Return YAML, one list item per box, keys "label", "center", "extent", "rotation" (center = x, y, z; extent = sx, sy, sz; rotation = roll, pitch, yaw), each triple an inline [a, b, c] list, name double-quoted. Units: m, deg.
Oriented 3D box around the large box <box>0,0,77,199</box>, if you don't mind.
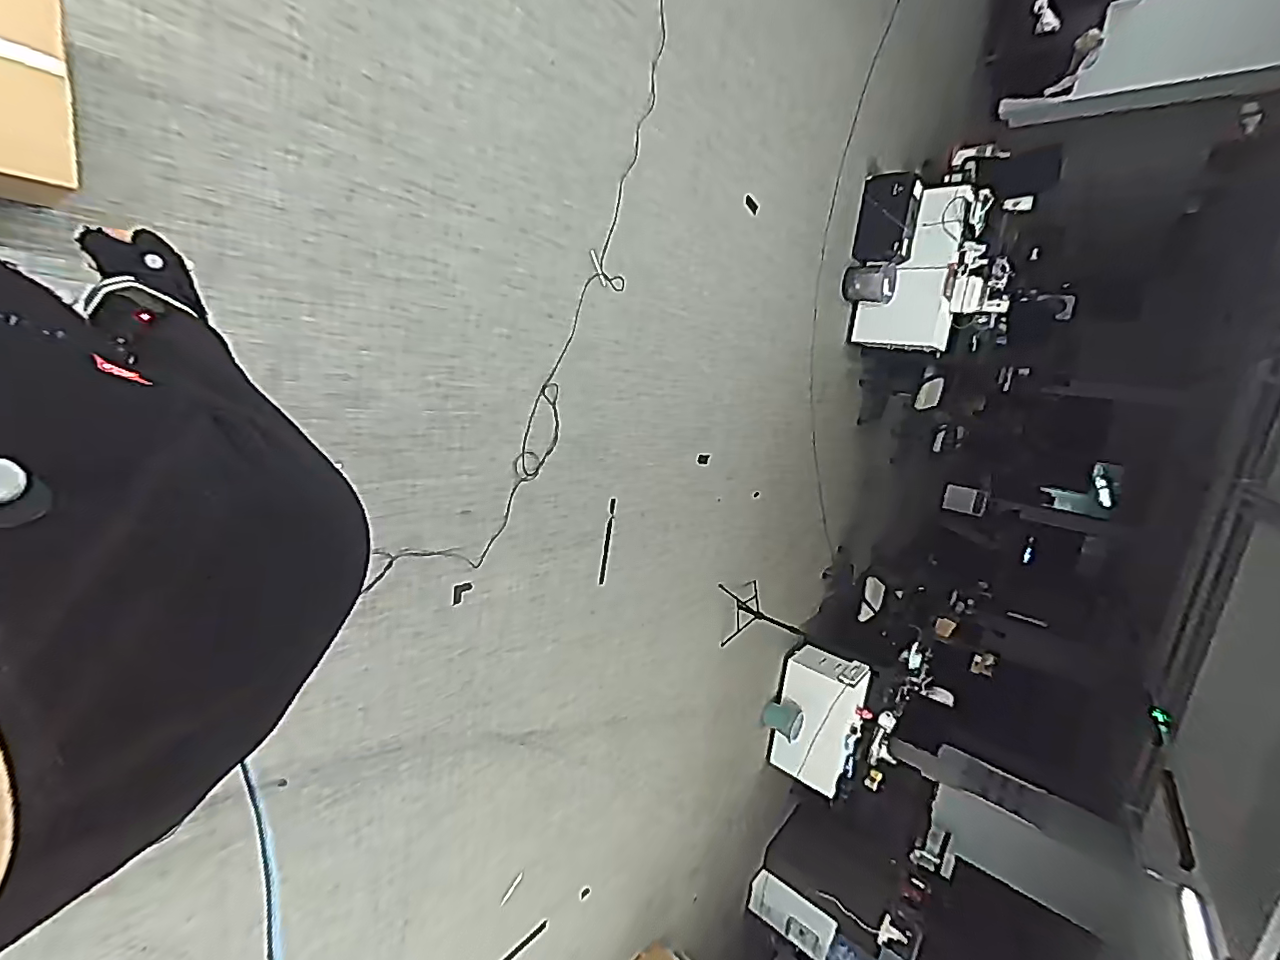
- label: "large box"
  center: [-1.058, -0.599, 0.702]
  extent: [0.408, 0.320, 0.320]
  rotation: [-9, 110, -52]
